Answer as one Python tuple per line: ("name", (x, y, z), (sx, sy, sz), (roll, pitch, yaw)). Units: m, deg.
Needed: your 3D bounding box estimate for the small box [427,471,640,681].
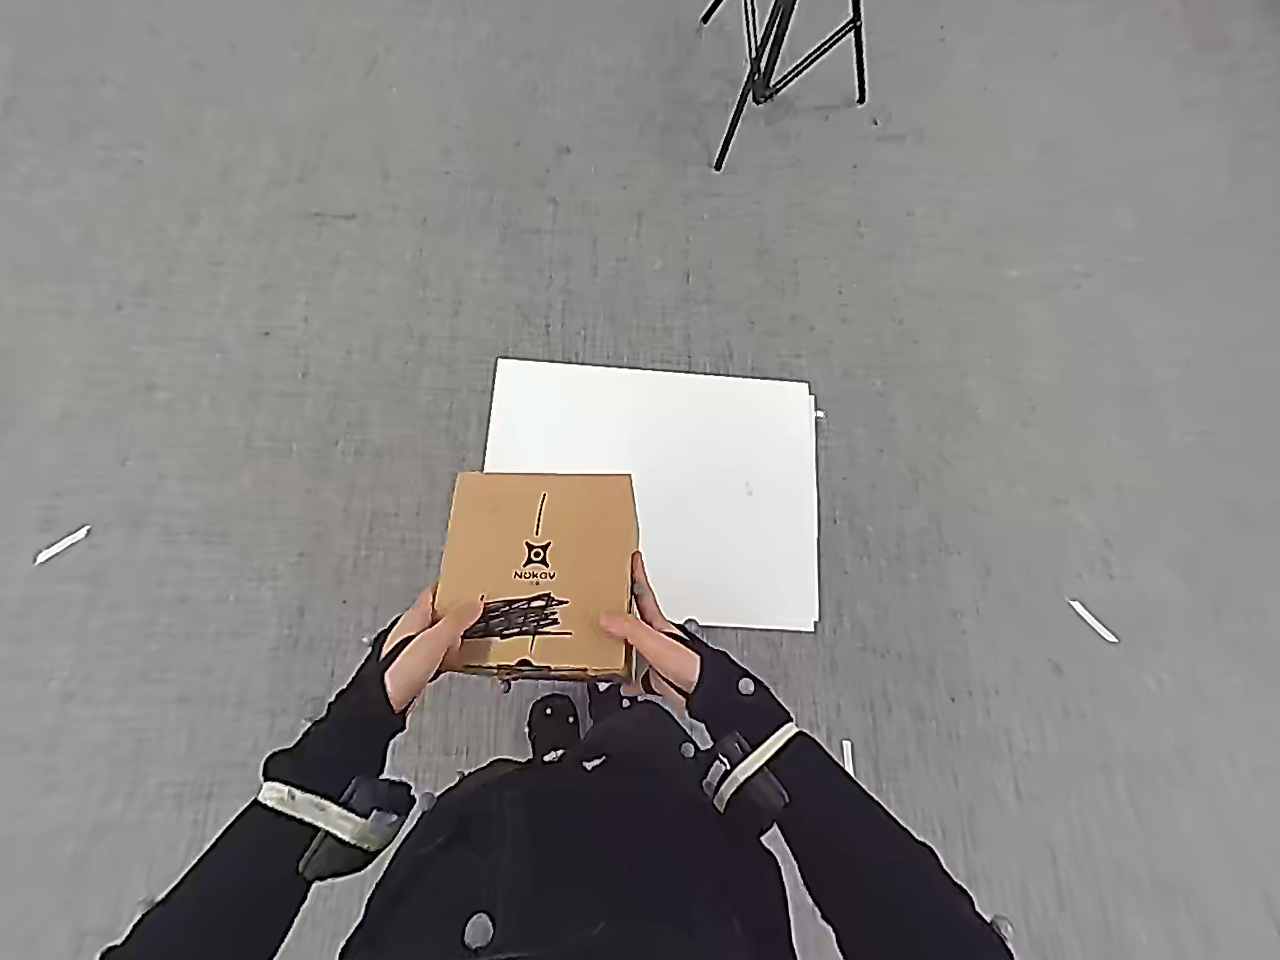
("small box", (-0.088, 0.104, 0.544), (0.168, 0.176, 0.179), (1, 65, 3))
